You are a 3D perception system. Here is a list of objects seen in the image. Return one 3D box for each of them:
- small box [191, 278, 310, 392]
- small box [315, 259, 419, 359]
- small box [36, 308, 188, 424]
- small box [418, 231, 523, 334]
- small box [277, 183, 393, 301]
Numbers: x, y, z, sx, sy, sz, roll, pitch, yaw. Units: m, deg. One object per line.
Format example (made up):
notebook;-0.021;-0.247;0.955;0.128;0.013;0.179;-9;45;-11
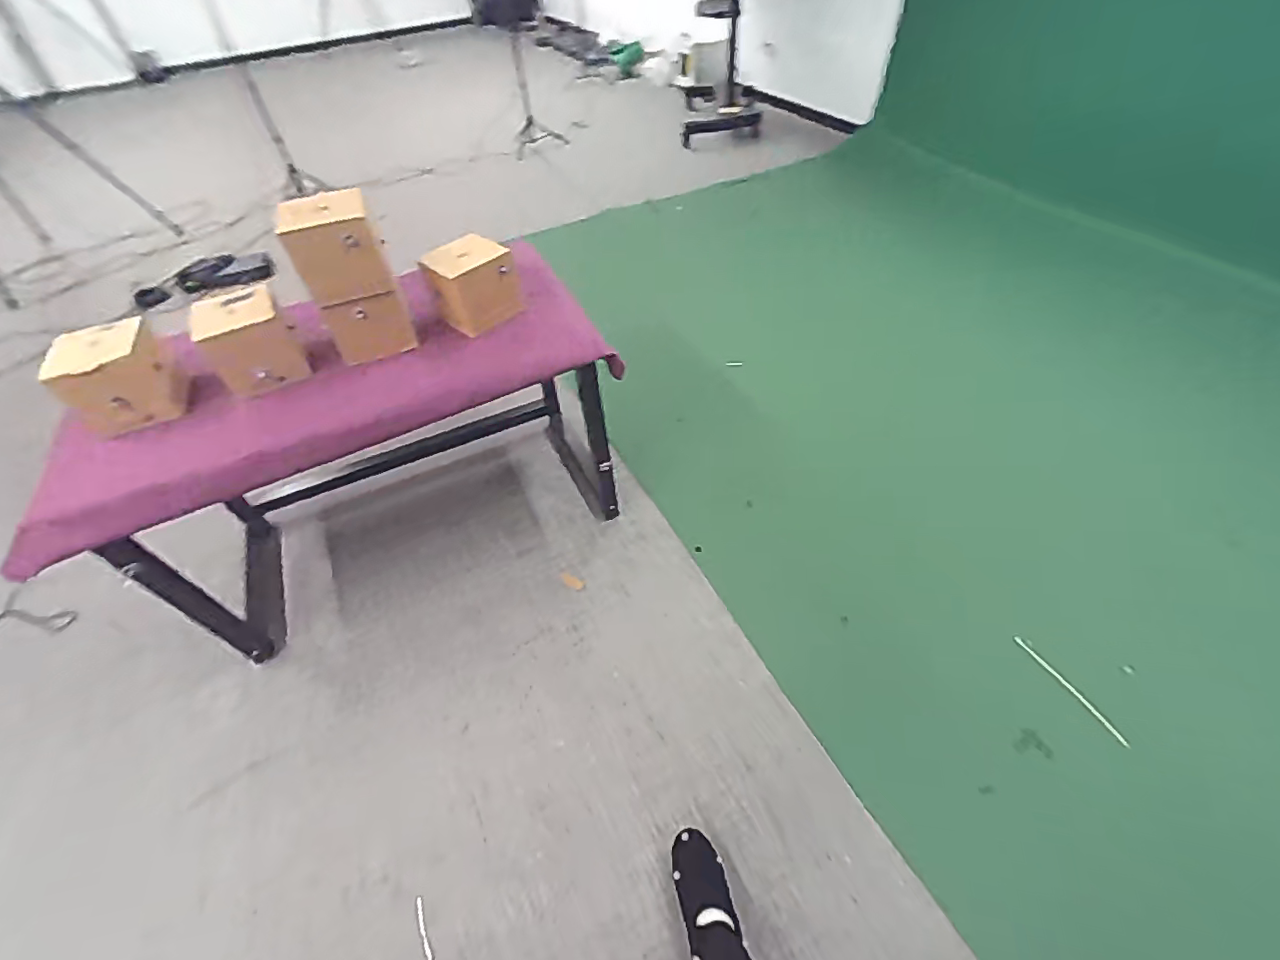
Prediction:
small box;-0.900;-0.336;1.257;0.168;0.176;0.179;-24;53;-17
small box;-0.662;-0.418;1.319;0.179;0.176;0.168;-18;51;-13
small box;-1.143;-0.244;1.190;0.168;0.176;0.179;-20;51;-14
small box;-0.423;-0.500;1.377;0.168;0.176;0.179;35;59;29
small box;-0.660;-0.522;1.191;0.179;0.176;0.168;-18;50;-12
